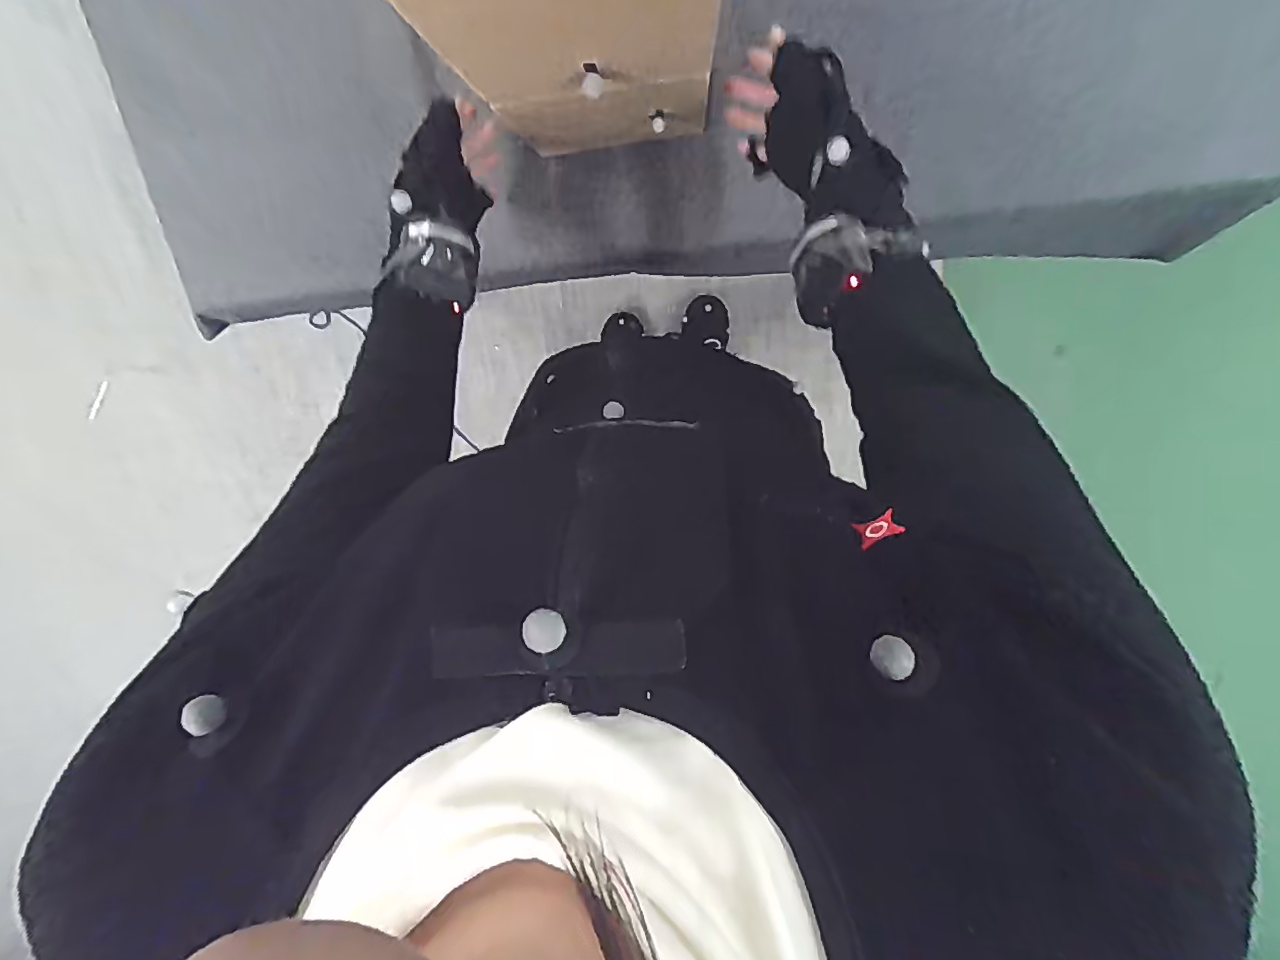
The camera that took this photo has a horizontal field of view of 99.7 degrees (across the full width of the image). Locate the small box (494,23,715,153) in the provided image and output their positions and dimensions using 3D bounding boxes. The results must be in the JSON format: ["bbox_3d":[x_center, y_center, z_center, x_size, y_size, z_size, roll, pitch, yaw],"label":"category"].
[{"bbox_3d":[-0.032,-0.407,0.468,0.179,0.176,0.168,-6,108,8],"label":"small box"}]

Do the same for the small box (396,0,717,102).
[{"bbox_3d":[-0.047,-0.354,0.317,0.179,0.176,0.168,-7,109,8],"label":"small box"}]
